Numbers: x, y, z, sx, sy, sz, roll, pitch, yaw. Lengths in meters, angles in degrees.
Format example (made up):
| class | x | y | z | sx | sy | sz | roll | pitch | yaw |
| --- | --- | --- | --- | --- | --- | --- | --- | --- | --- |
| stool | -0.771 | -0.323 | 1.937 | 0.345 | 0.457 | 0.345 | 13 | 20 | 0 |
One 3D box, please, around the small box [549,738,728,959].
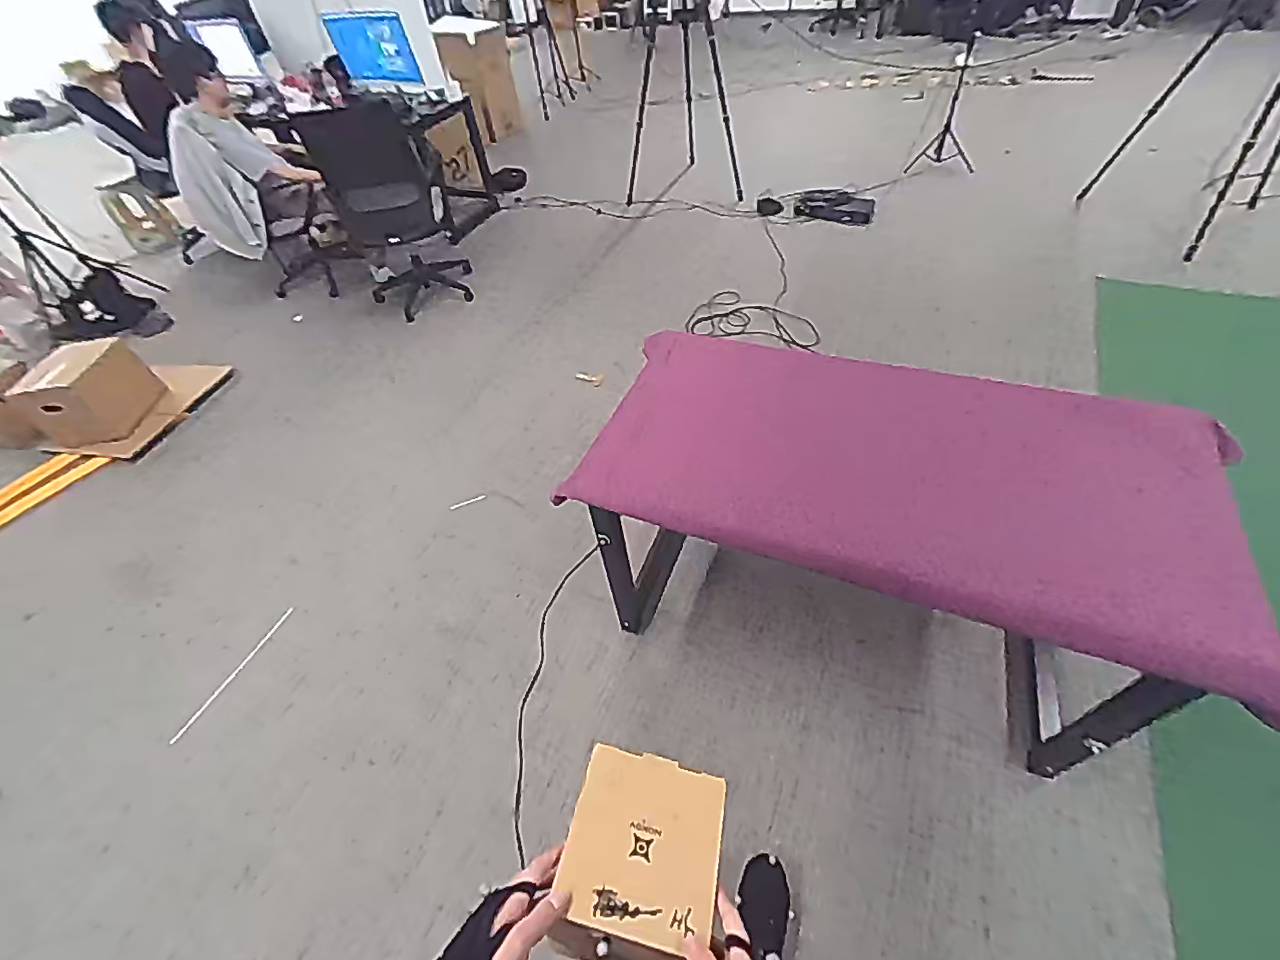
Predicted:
| class | x | y | z | sx | sy | sz | roll | pitch | yaw |
| --- | --- | --- | --- | --- | --- | --- | --- | --- | --- |
| small box | -0.002 | 0.445 | 0.633 | 0.168 | 0.176 | 0.179 | 12 | 39 | 7 |
